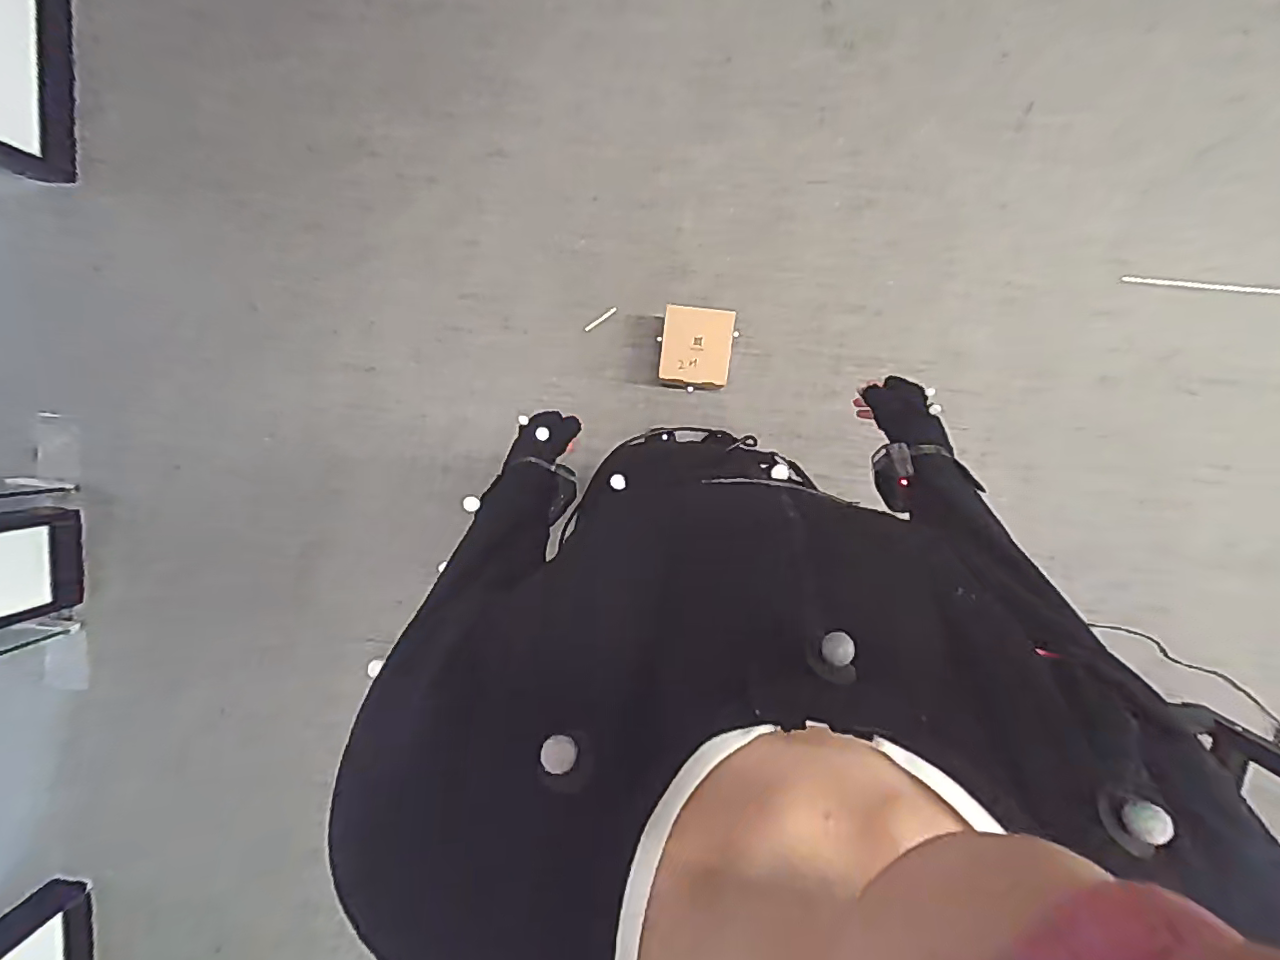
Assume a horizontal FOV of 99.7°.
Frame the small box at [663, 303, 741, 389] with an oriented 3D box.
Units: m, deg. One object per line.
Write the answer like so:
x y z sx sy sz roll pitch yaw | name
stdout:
0.149 -0.329 1.352 0.168 0.176 0.179 7 97 3 | small box
